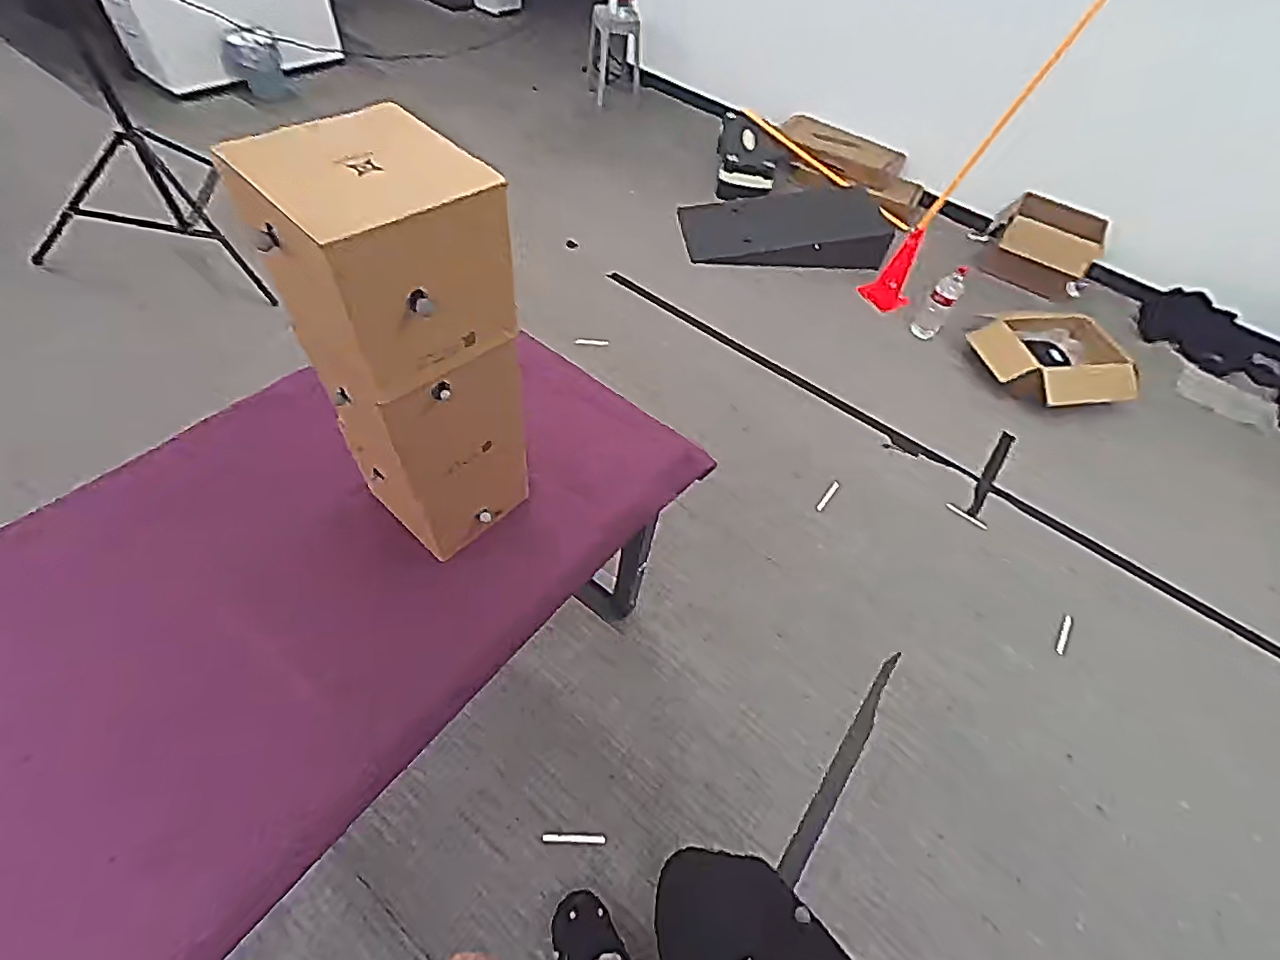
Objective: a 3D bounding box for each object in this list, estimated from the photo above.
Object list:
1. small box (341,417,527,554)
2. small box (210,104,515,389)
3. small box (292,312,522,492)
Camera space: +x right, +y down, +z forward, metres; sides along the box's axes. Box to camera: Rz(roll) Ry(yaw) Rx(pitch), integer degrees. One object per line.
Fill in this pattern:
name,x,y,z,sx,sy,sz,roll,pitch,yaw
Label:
small box,-0.282,-0.026,0.775,0.179,0.176,0.168,38,59,18
small box,-0.236,-0.210,0.507,0.179,0.176,0.168,39,59,20
small box,-0.260,-0.119,0.641,0.179,0.176,0.168,39,59,20
